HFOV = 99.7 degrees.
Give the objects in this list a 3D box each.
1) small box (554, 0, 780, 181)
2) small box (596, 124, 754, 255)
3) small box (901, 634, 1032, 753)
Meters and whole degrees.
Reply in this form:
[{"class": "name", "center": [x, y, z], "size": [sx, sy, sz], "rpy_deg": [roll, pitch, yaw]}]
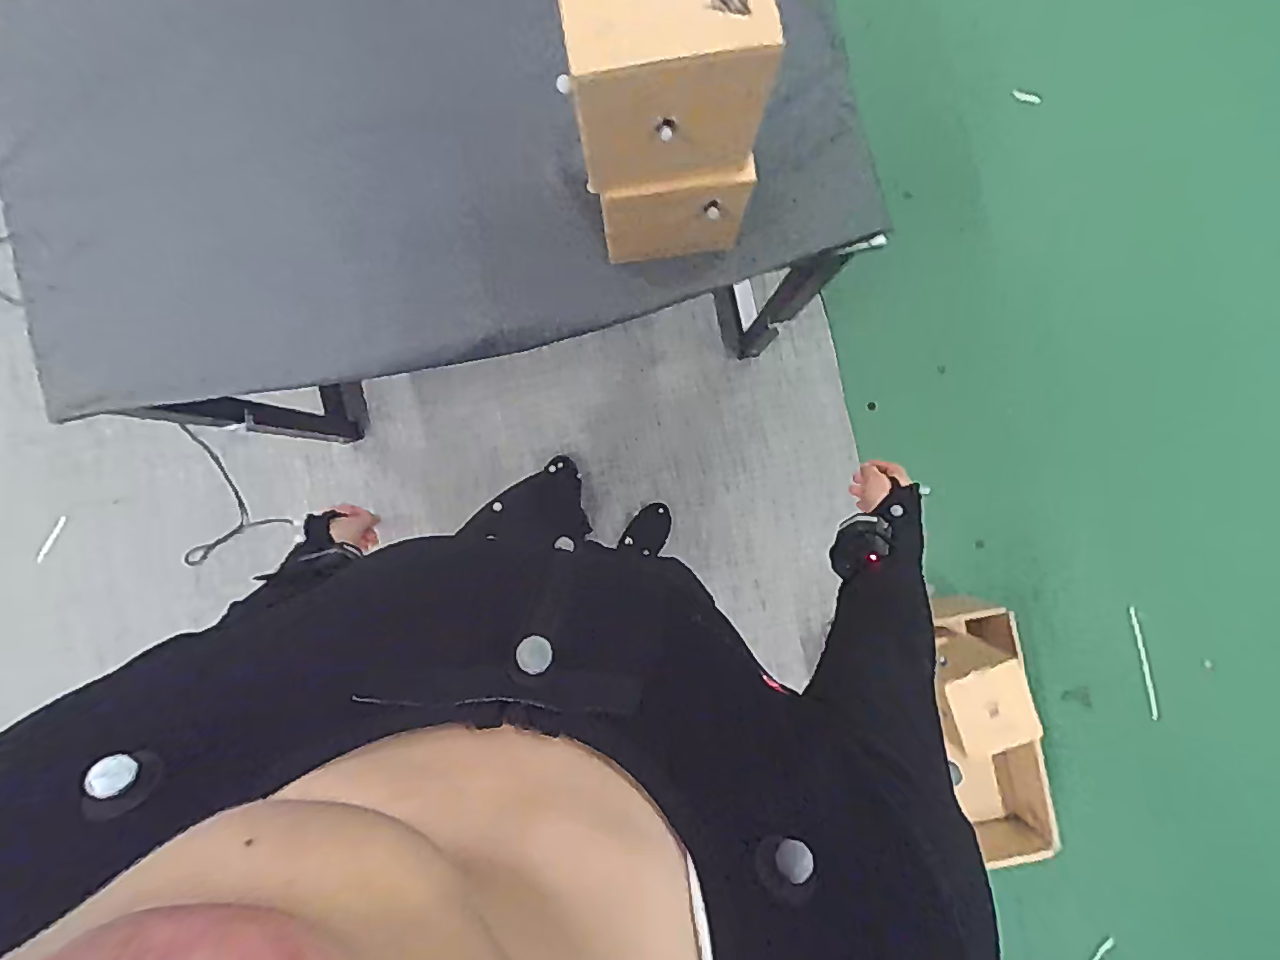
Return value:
[{"class": "small box", "center": [0.014, -0.413, 0.506], "size": [0.179, 0.176, 0.168], "rpy_deg": [-9, 89, 1]}, {"class": "small box", "center": [0.029, -0.401, 0.670], "size": [0.179, 0.176, 0.168], "rpy_deg": [-8, 88, 0]}, {"class": "small box", "center": [0.718, 0.462, 1.209], "size": [0.168, 0.176, 0.179], "rpy_deg": [-20, 93, 1]}]
